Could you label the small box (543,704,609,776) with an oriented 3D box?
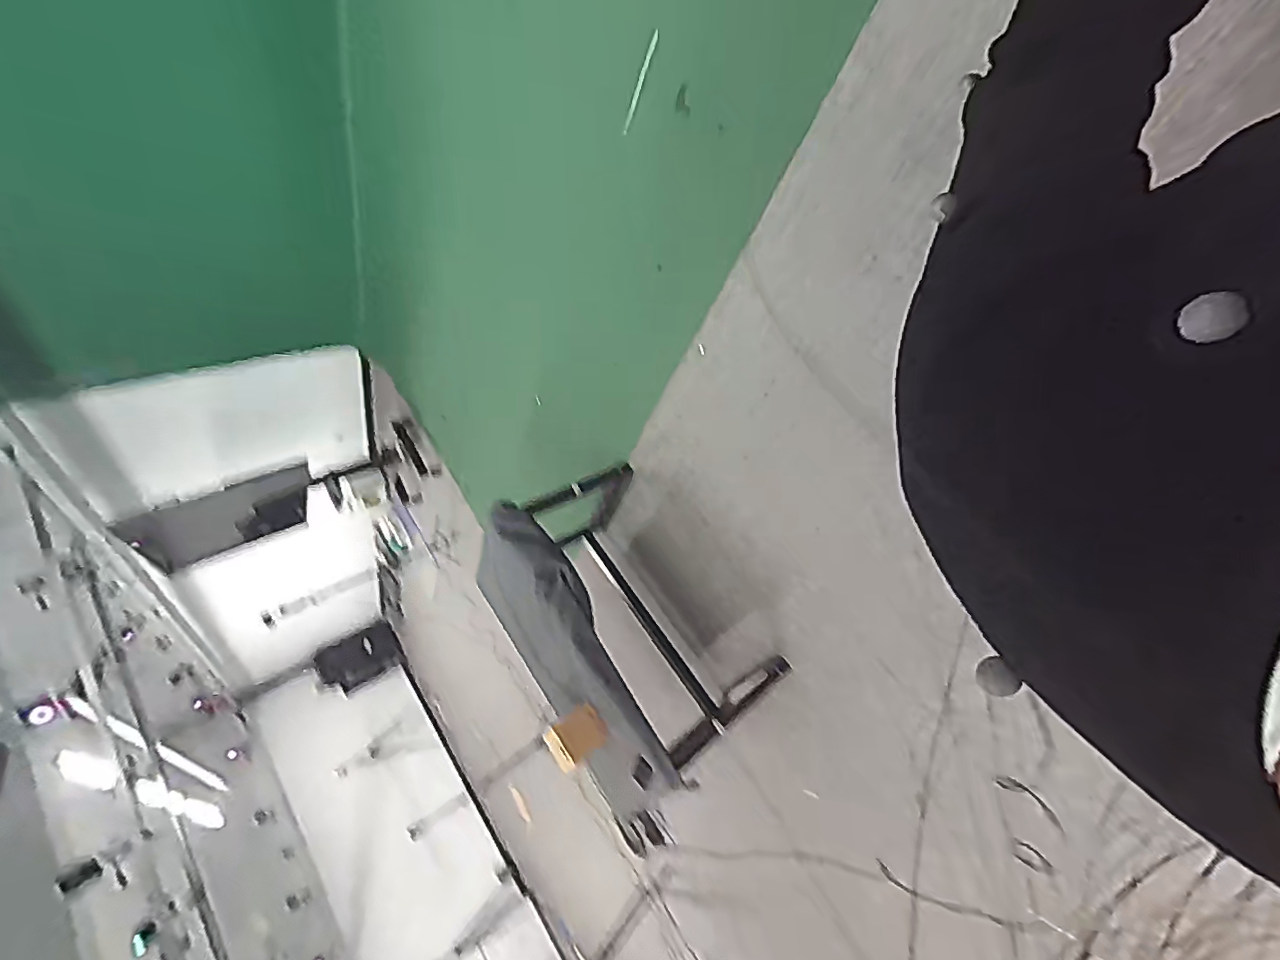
[{"bbox_3d":[-0.239,0.975,2.036,0.168,0.176,0.179,51,143,19],"label":"small box"}]
